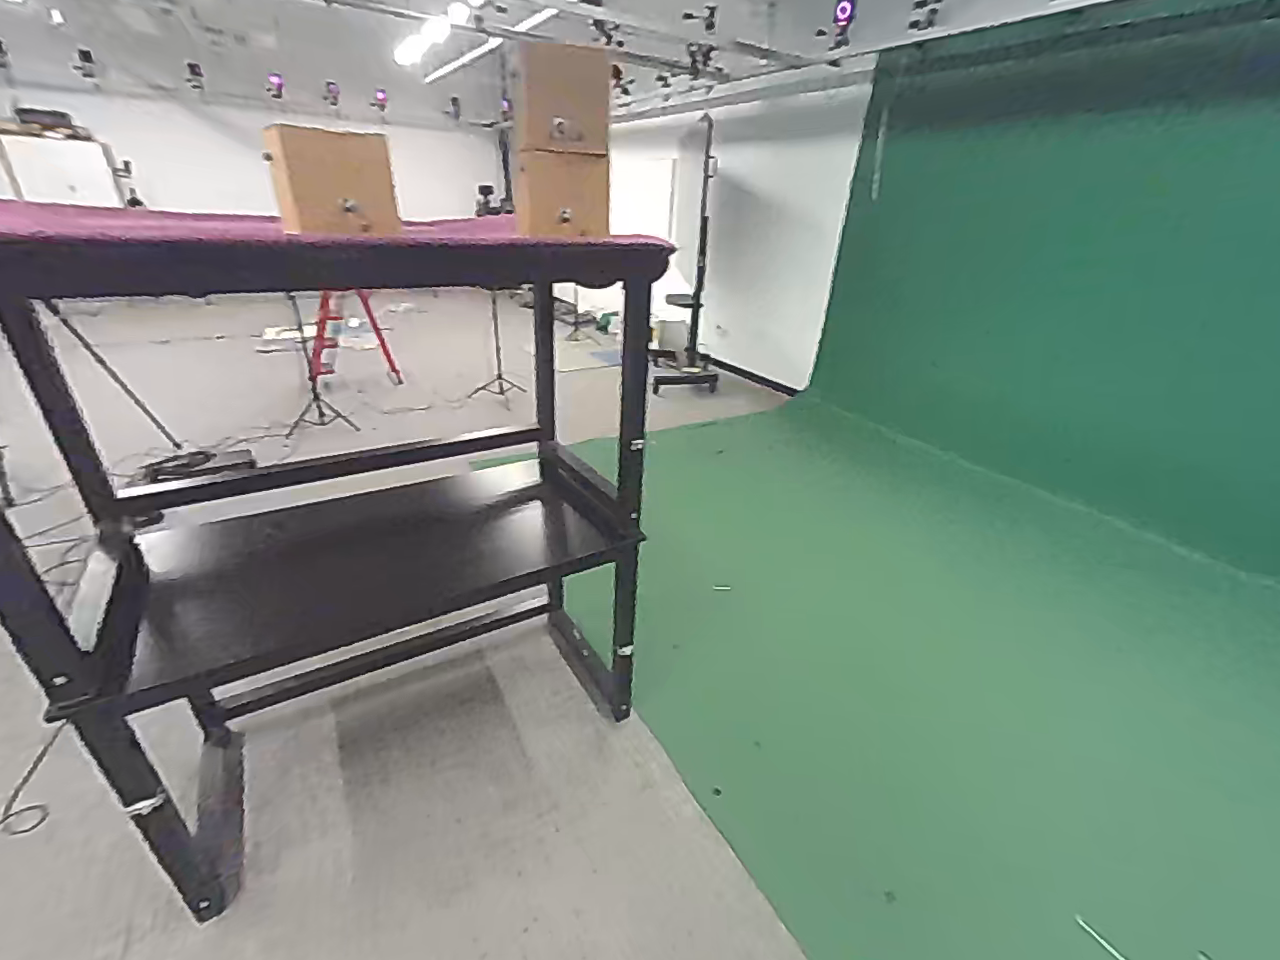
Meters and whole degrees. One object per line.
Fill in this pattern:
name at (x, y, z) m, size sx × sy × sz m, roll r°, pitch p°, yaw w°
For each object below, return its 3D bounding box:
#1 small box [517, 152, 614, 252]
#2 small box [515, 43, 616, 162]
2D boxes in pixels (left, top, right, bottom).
small box at (-0.161, -0.579, 1.131) m, size 0.168 × 0.176 × 0.179 m, roll -8°, pitch 30°, yaw -20°
small box at (-0.149, -0.719, 1.050) m, size 0.168 × 0.176 × 0.179 m, roll -7°, pitch 31°, yaw -16°
